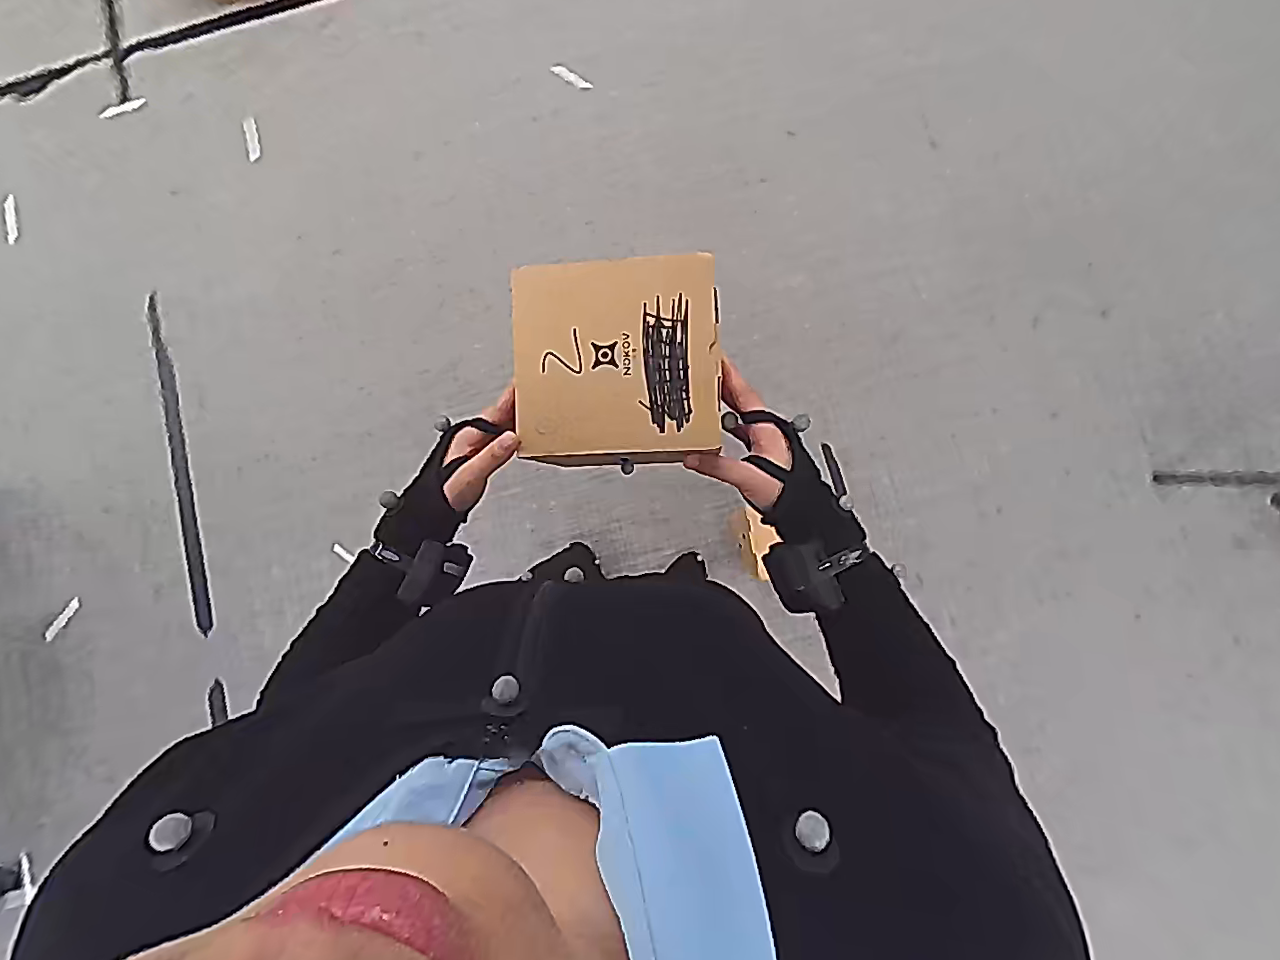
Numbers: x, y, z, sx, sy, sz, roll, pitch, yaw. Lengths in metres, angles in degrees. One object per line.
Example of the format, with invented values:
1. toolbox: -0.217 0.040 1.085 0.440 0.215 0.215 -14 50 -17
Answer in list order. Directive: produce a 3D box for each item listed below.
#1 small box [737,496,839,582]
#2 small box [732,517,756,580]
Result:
1. small box: 0.332 0.134 1.242 0.179 0.176 0.168 -10 83 2
2. small box: 0.346 0.156 1.403 0.179 0.176 0.168 -16 84 0
